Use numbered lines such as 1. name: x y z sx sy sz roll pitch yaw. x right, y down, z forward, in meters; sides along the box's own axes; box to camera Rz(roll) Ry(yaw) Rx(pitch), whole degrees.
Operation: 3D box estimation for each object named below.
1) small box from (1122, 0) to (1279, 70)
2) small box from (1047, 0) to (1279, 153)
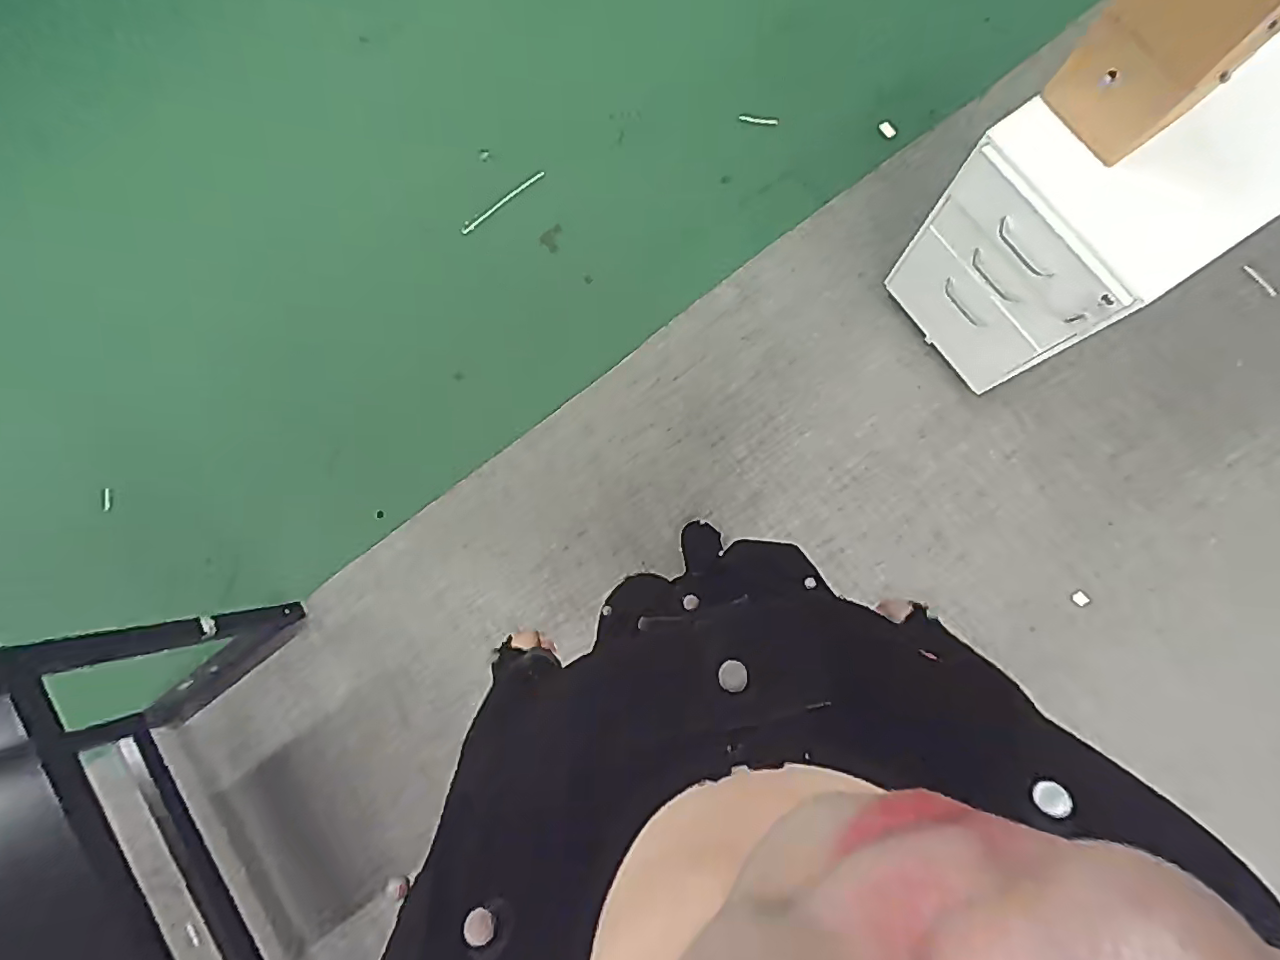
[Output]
1. small box: 0.757 -0.669 0.663 0.168 0.176 0.179 -36 83 2
2. small box: 0.784 -0.654 0.824 0.168 0.176 0.179 -36 82 3
